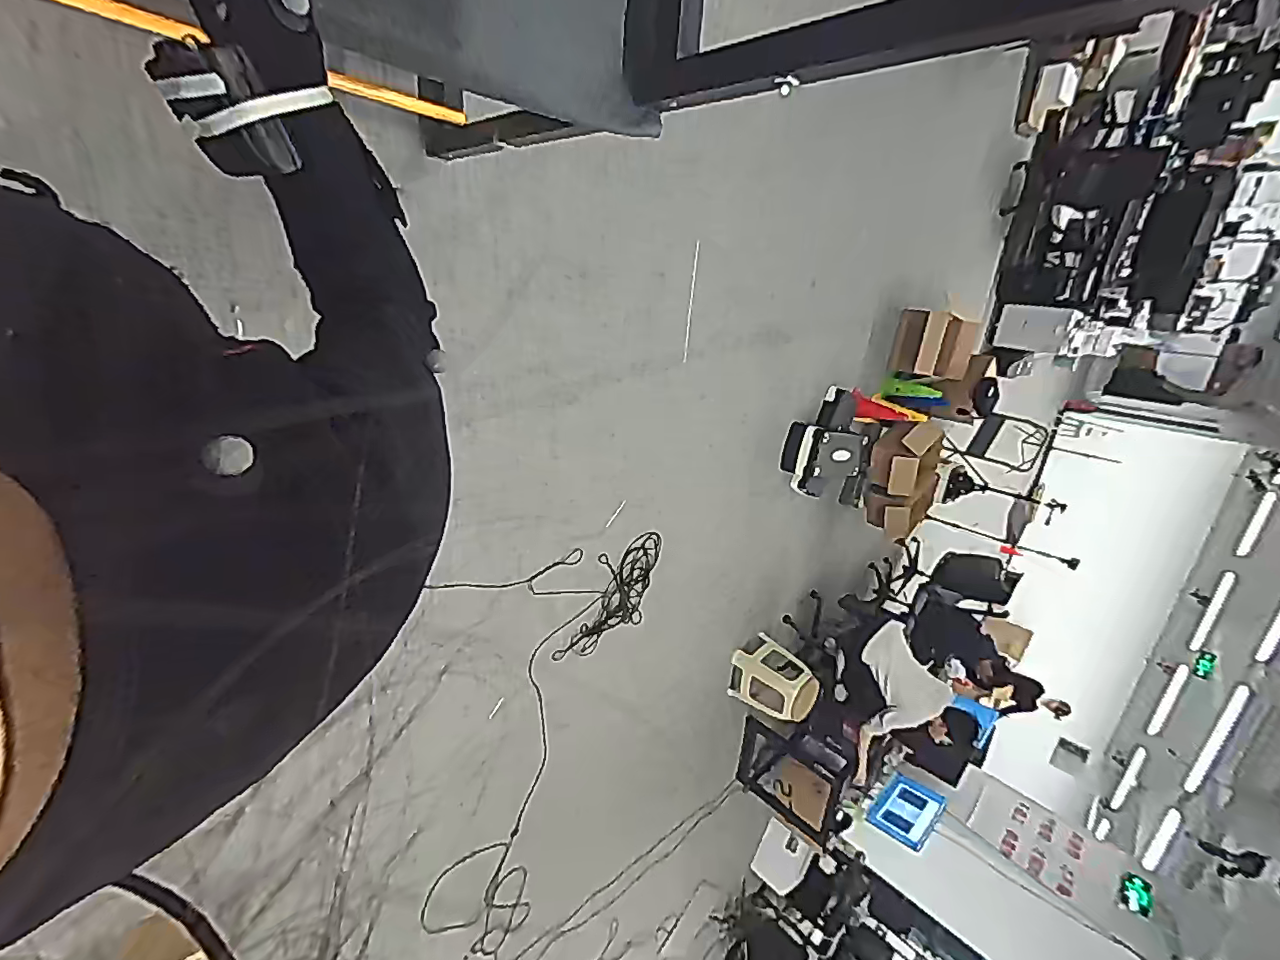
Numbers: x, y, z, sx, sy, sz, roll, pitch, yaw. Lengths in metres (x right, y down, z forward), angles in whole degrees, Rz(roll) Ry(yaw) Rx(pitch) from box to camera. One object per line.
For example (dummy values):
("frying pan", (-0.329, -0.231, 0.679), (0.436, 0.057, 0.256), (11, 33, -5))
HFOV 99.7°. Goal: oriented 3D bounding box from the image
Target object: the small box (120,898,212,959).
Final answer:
("small box", (-1.237, 1.245, 1.410), (0.168, 0.176, 0.179), (-3, 110, -46))
